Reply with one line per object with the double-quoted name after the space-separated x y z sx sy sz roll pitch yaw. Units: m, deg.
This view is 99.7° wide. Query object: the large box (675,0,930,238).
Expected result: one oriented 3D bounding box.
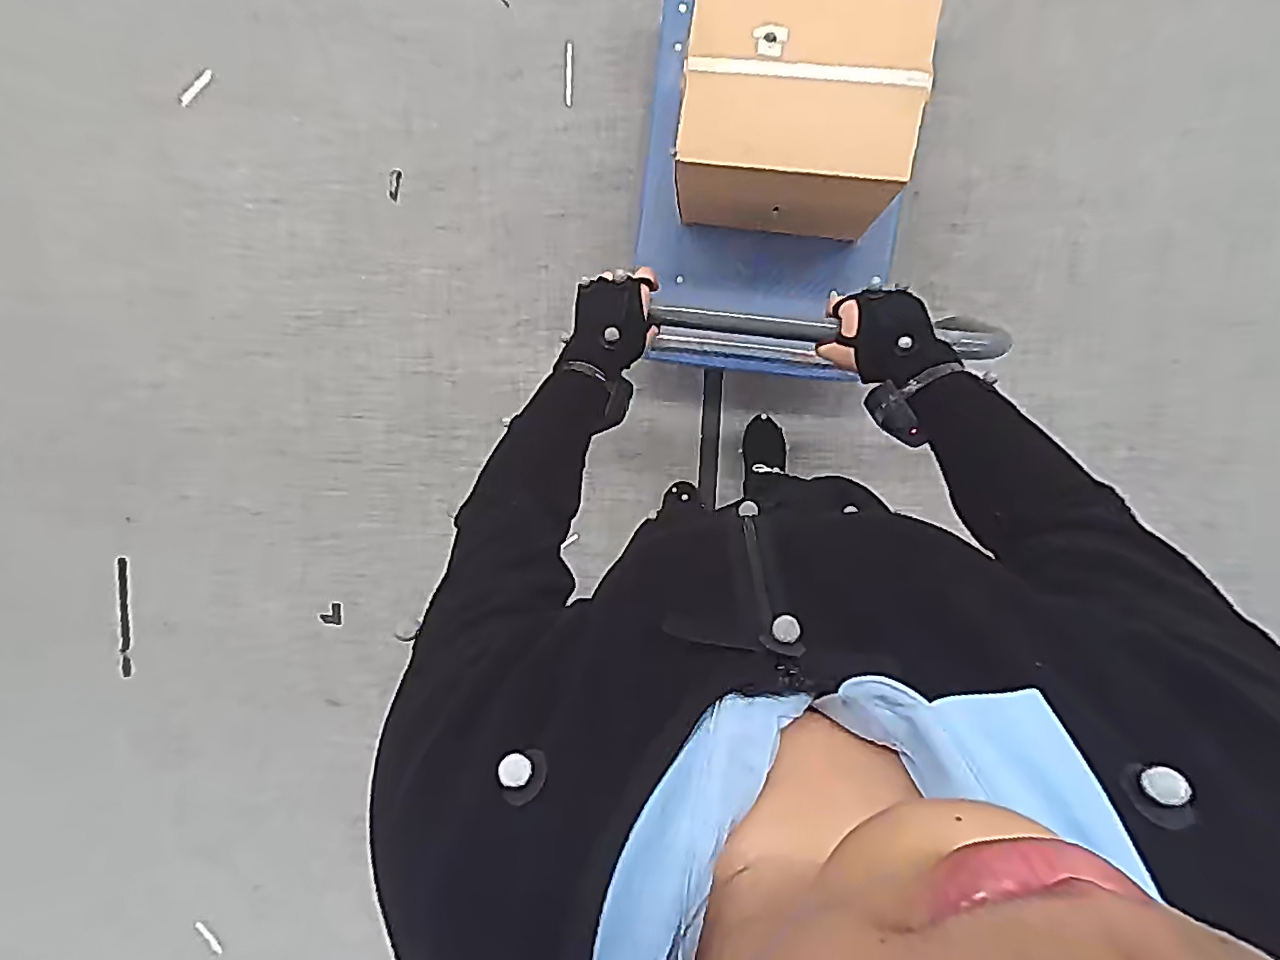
0.296 -0.703 1.088 0.408 0.320 0.320 8 96 6 "large box"
